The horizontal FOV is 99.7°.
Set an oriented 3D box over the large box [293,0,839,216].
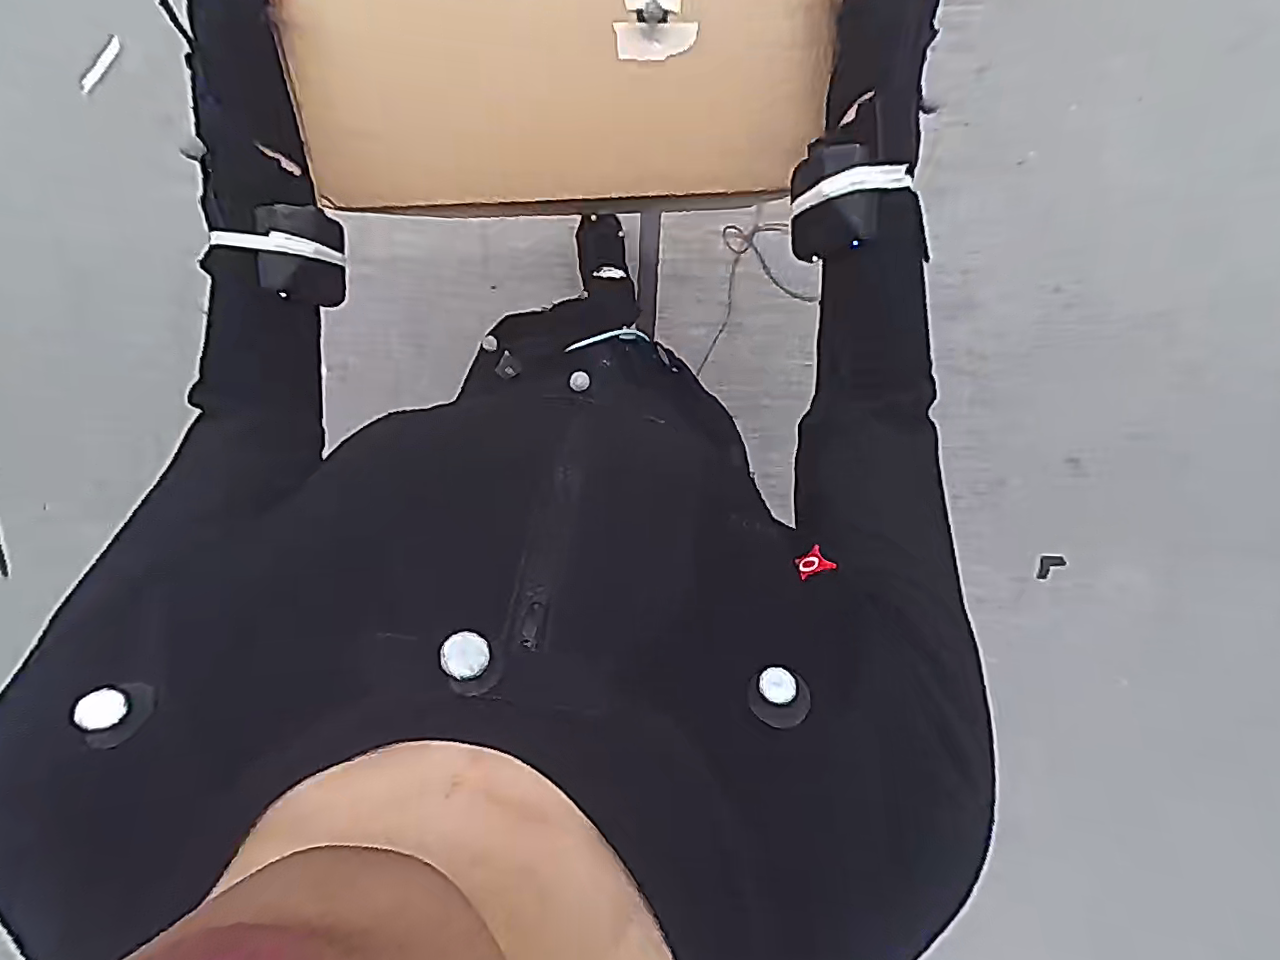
[{"bbox_3d":[-0.057,-0.437,0.516,0.408,0.320,0.320,-2,116,0],"label":"large box"}]
